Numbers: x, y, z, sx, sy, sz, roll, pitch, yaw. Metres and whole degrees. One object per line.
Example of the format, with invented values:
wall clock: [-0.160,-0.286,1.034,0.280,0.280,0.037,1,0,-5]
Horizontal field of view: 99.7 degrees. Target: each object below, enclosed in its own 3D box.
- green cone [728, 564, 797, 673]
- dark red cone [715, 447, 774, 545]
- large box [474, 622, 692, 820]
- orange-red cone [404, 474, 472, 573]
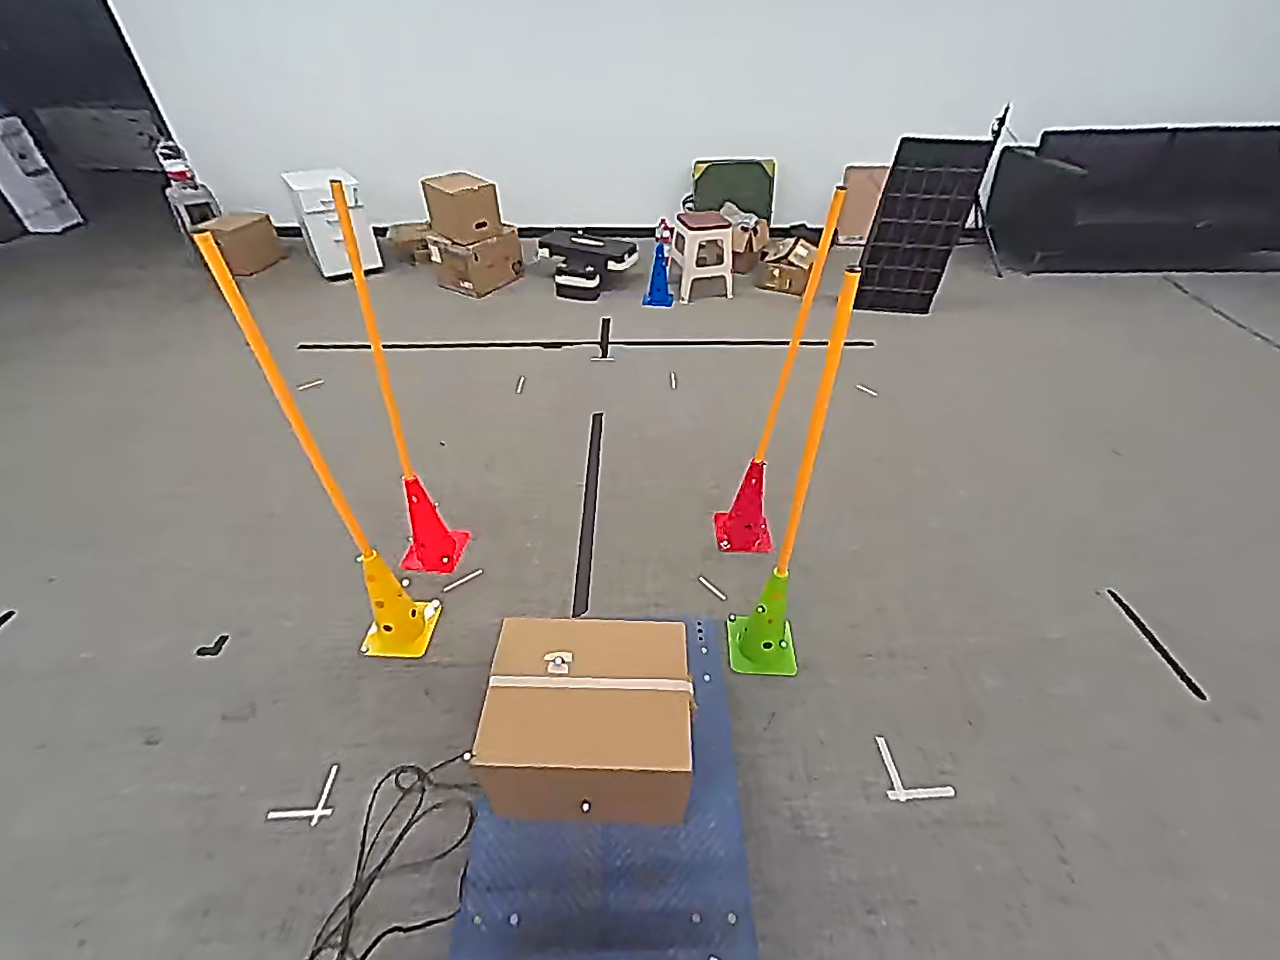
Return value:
green cone: [0.385,0.381,1.582,0.202,0.368,0.200,3,41,1]
dark red cone: [0.399,0.049,1.935,0.201,0.394,0.202,1,42,-2]
large box: [-0.100,0.529,1.188,0.408,0.320,0.320,1,41,2]
orange-red cone: [-0.730,0.125,1.865,0.198,0.360,0.199,6,40,4]
